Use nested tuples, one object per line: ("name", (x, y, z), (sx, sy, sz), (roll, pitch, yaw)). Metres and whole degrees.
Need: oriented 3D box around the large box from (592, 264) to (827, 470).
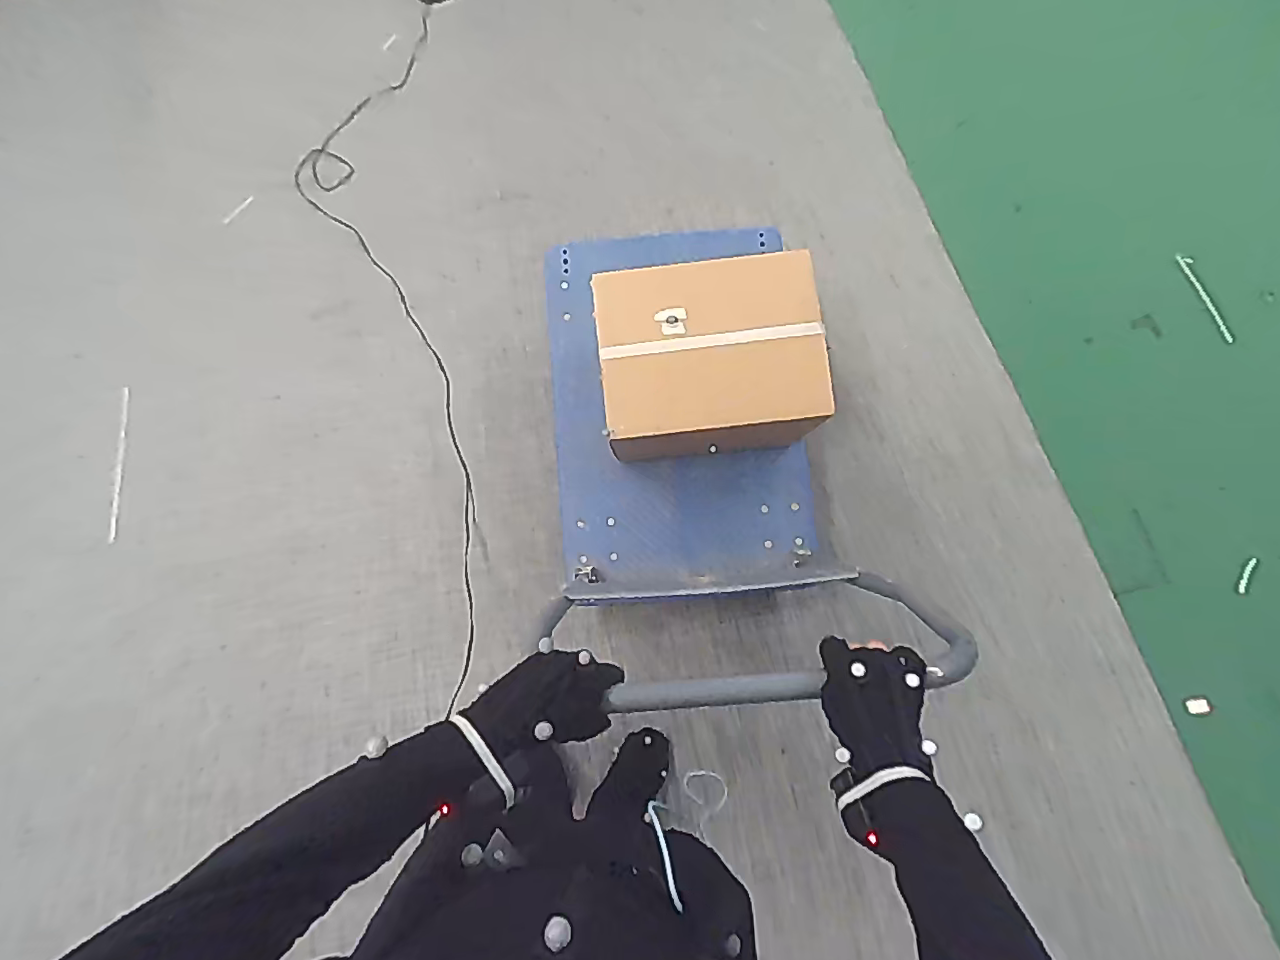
("large box", (0.131, -0.211, 1.140), (0.408, 0.320, 0.320), (-7, 82, 2))
